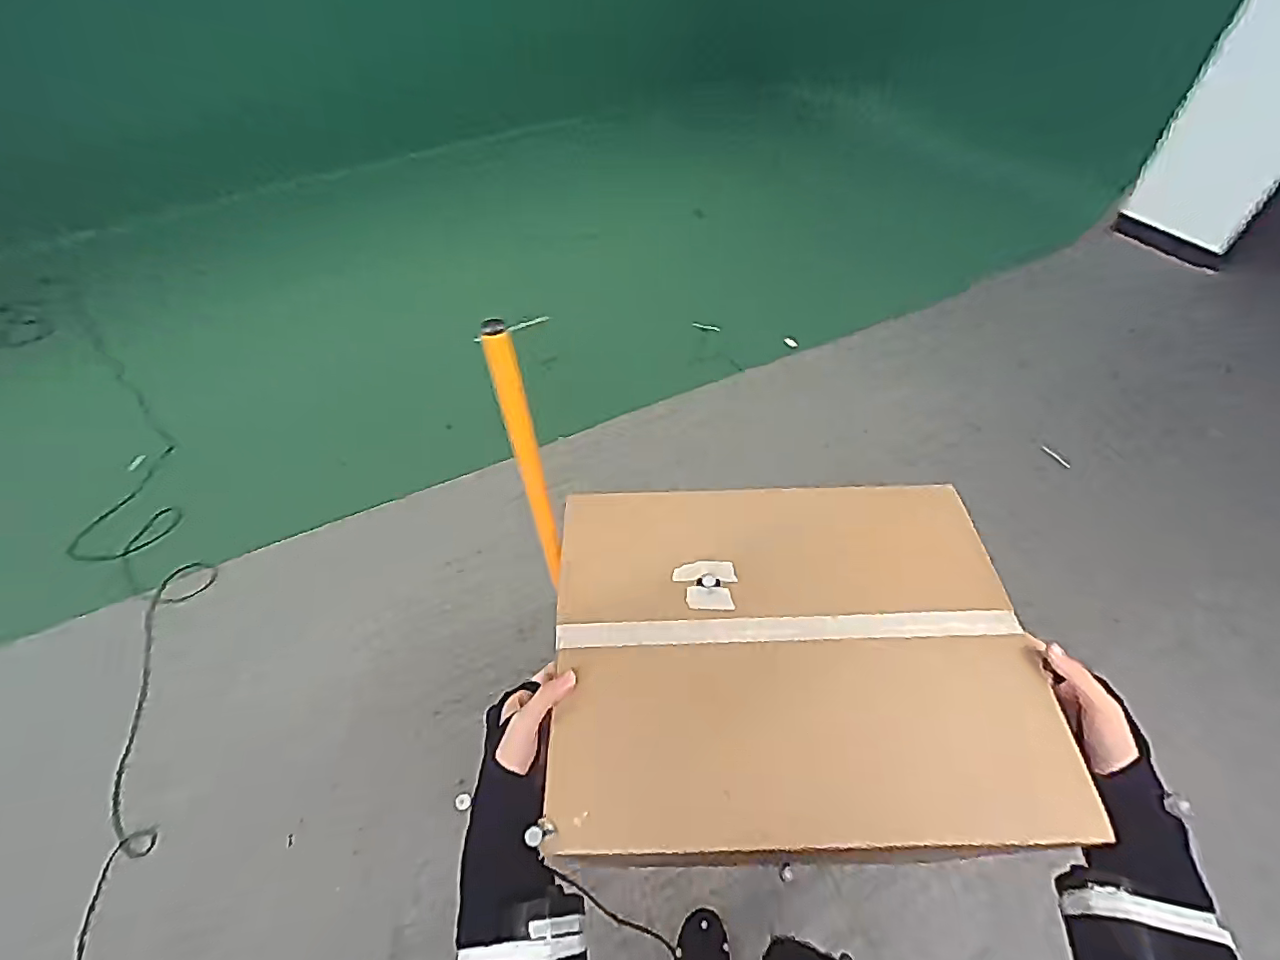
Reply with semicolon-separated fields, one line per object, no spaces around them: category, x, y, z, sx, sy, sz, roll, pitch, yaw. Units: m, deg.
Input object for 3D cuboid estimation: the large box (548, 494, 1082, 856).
large box;0.135;0.232;0.607;0.408;0.320;0.320;-1;53;2
